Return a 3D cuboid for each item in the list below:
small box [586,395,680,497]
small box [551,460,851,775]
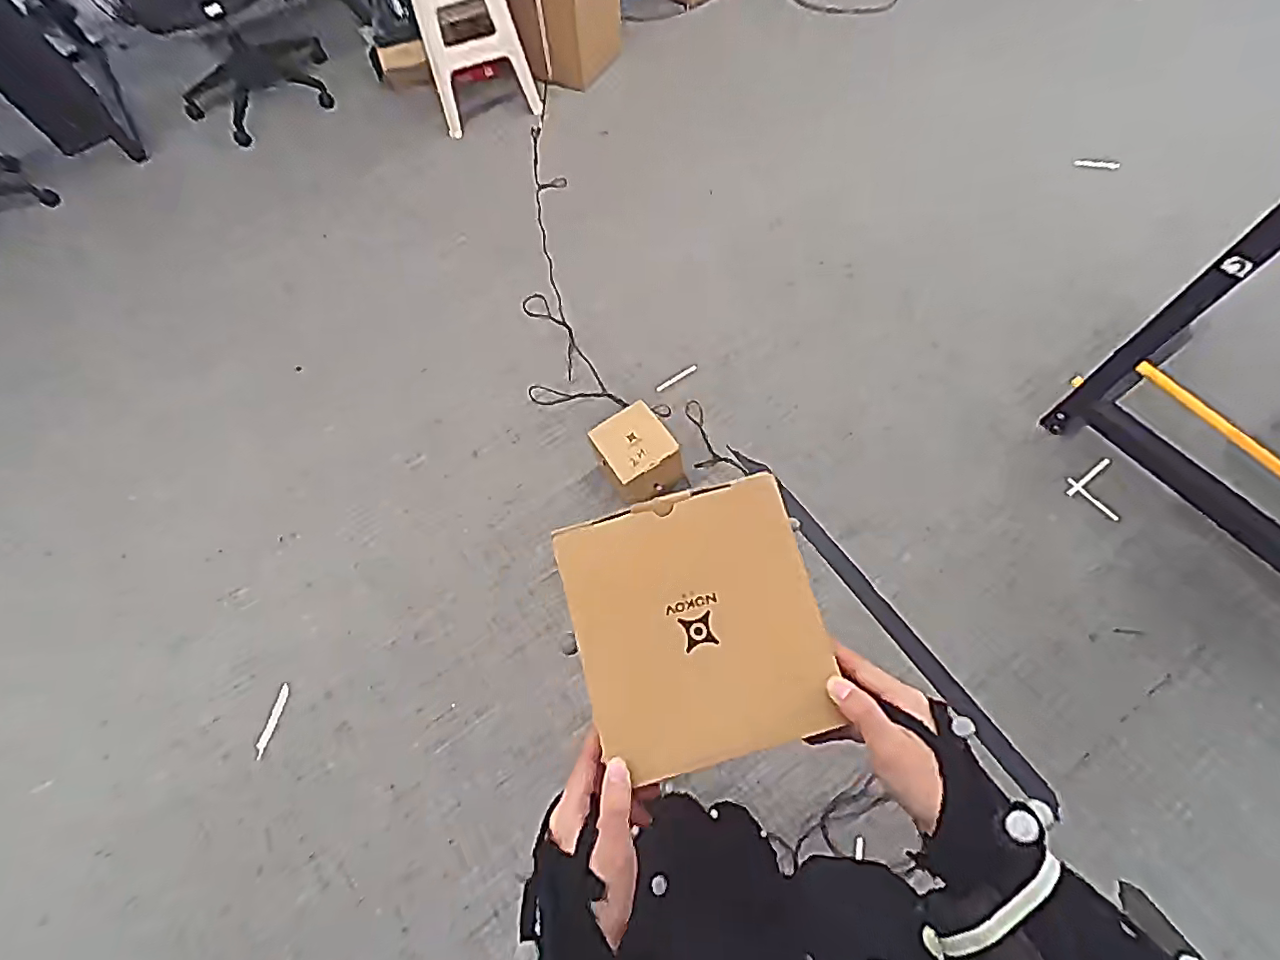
[{"bbox_3d":[-0.013,-0.075,1.370,0.168,0.176,0.179,-33,67,-7],"label":"small box"},{"bbox_3d":[0.040,0.102,0.439,0.168,0.176,0.179,-15,78,-2],"label":"small box"}]
